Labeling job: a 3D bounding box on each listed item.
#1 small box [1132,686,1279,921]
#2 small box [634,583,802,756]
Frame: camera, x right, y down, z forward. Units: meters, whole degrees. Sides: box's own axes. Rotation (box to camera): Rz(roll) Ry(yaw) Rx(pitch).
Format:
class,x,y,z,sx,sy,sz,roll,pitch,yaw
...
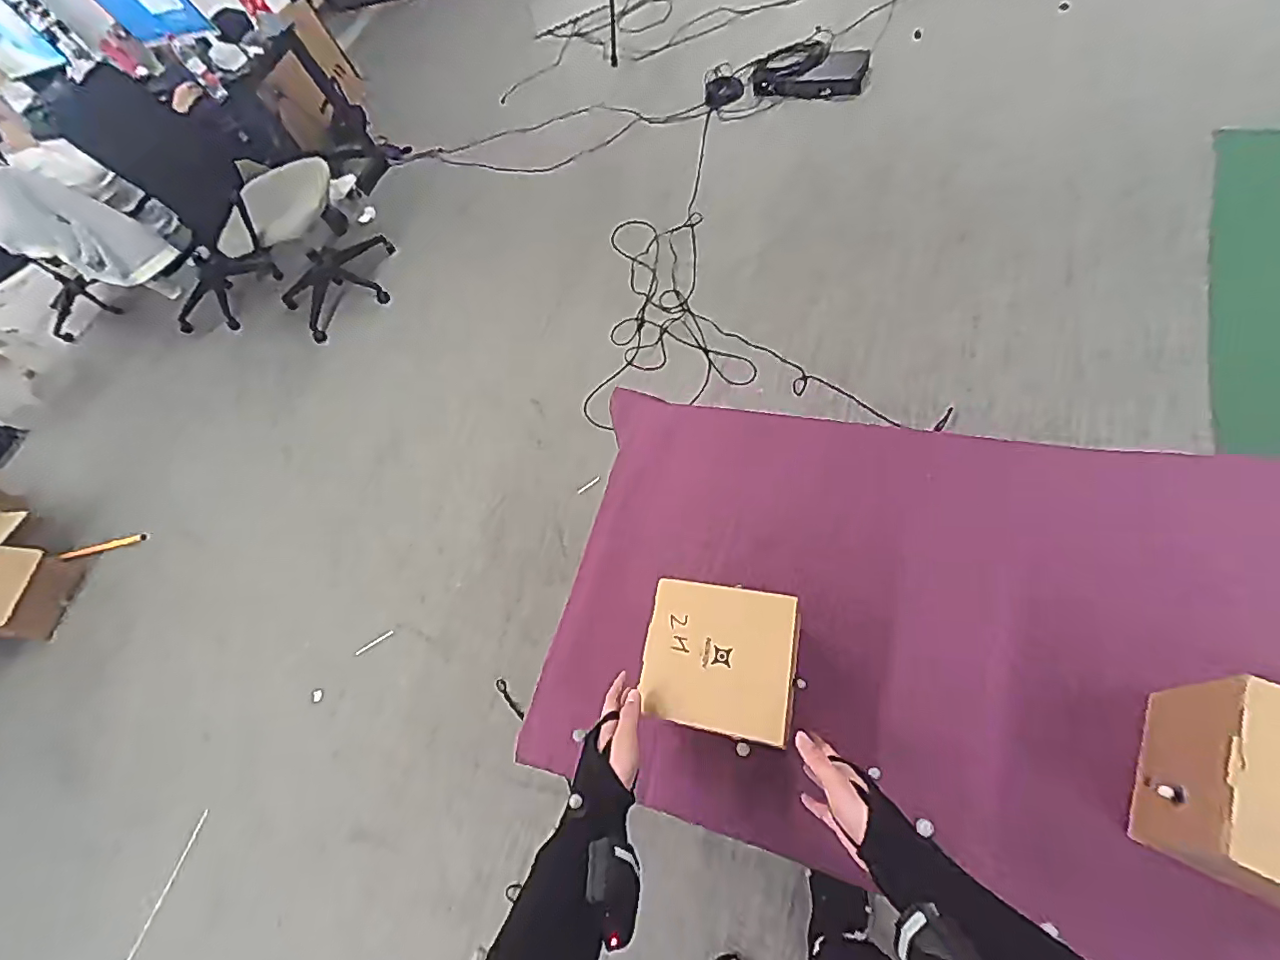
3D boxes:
class,x,y,z,sx,sy,sz,roll,pitch,yaw
small box,0.616,0.320,0.507,0.179,0.176,0.168,21,71,25
small box,0.112,0.246,0.700,0.179,0.176,0.168,5,65,20
